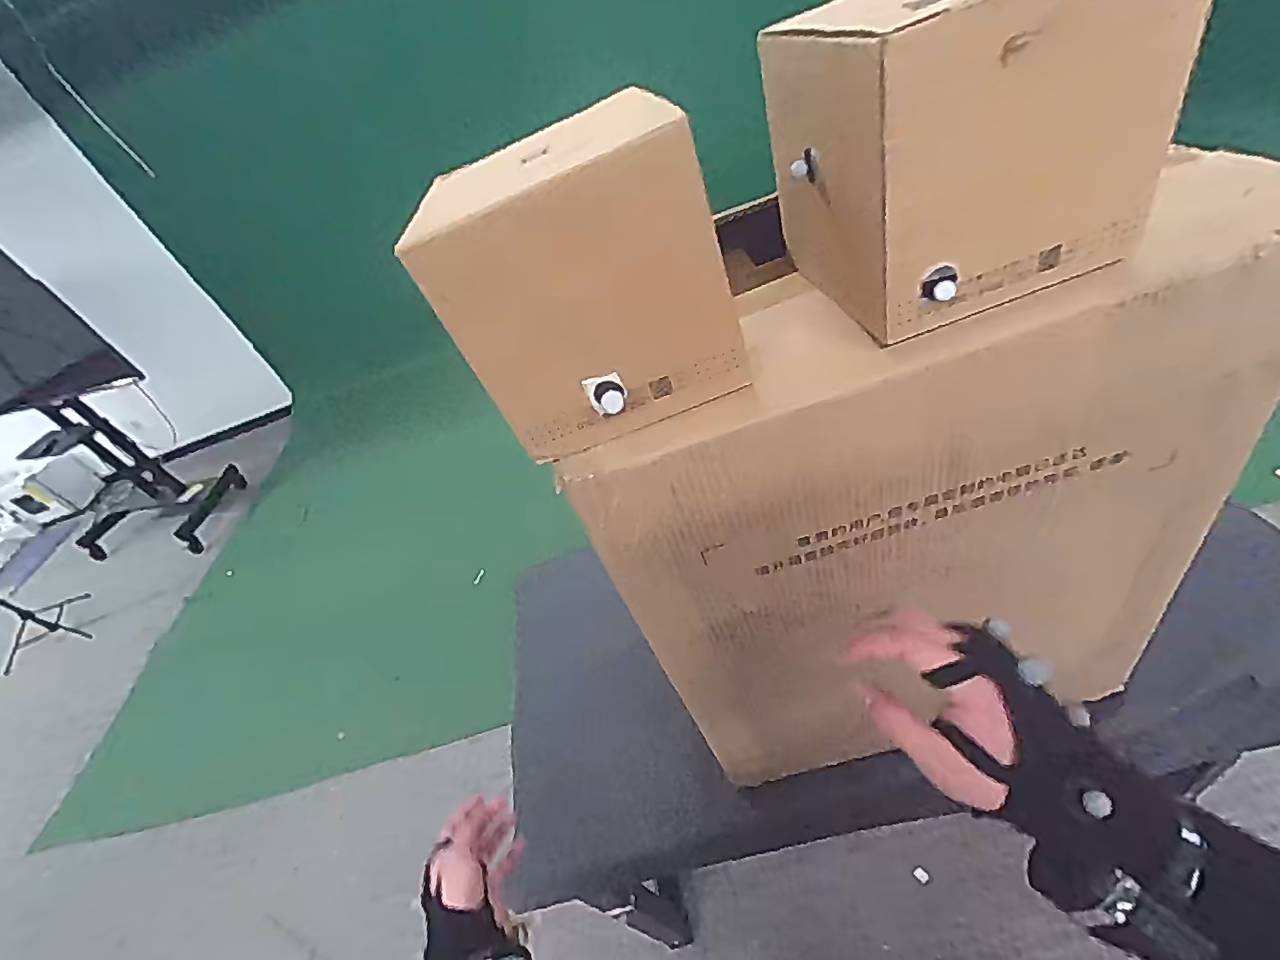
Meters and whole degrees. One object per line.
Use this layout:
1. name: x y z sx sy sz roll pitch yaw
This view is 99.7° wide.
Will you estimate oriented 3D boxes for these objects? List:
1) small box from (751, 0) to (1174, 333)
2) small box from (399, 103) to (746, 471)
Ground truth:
1. small box: 0.192 -0.220 0.359 0.168 0.176 0.179 -20 39 4
2. small box: -0.039 -0.138 0.394 0.168 0.176 0.179 -23 41 7
